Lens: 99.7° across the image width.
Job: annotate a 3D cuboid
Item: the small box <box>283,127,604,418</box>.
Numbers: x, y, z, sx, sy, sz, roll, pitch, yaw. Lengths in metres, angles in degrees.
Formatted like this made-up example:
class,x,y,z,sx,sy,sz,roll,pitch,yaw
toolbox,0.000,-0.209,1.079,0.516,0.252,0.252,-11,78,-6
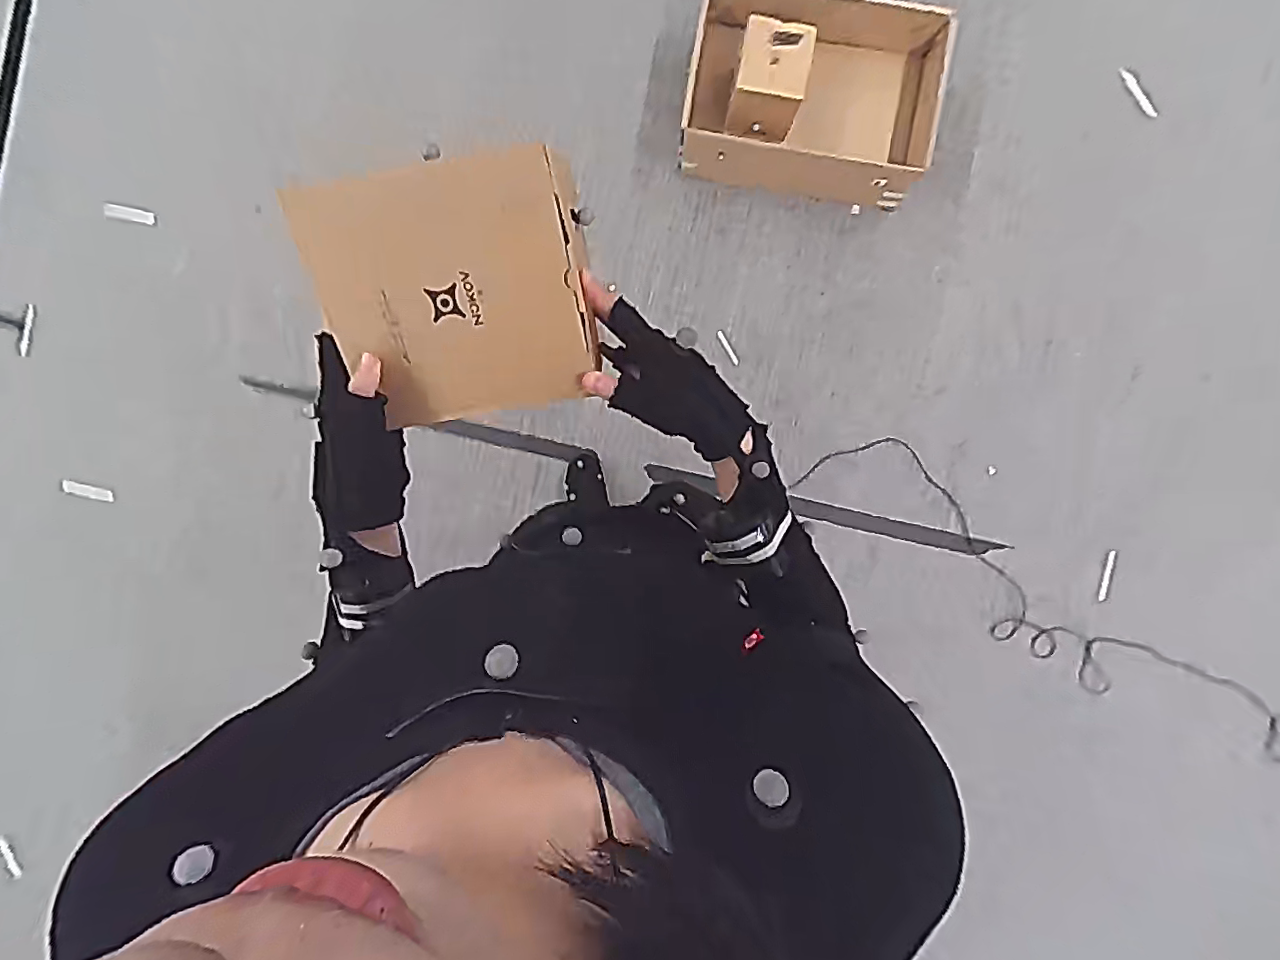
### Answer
class,x,y,z,sx,sy,sz,roll,pitch,yaw
small box,-0.127,-0.165,0.436,0.179,0.176,0.168,-9,115,3

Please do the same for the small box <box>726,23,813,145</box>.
class,x,y,z,sx,sy,sz,roll,pitch,yaw
small box,0.323,-1.004,1.383,0.168,0.176,0.179,10,91,0
